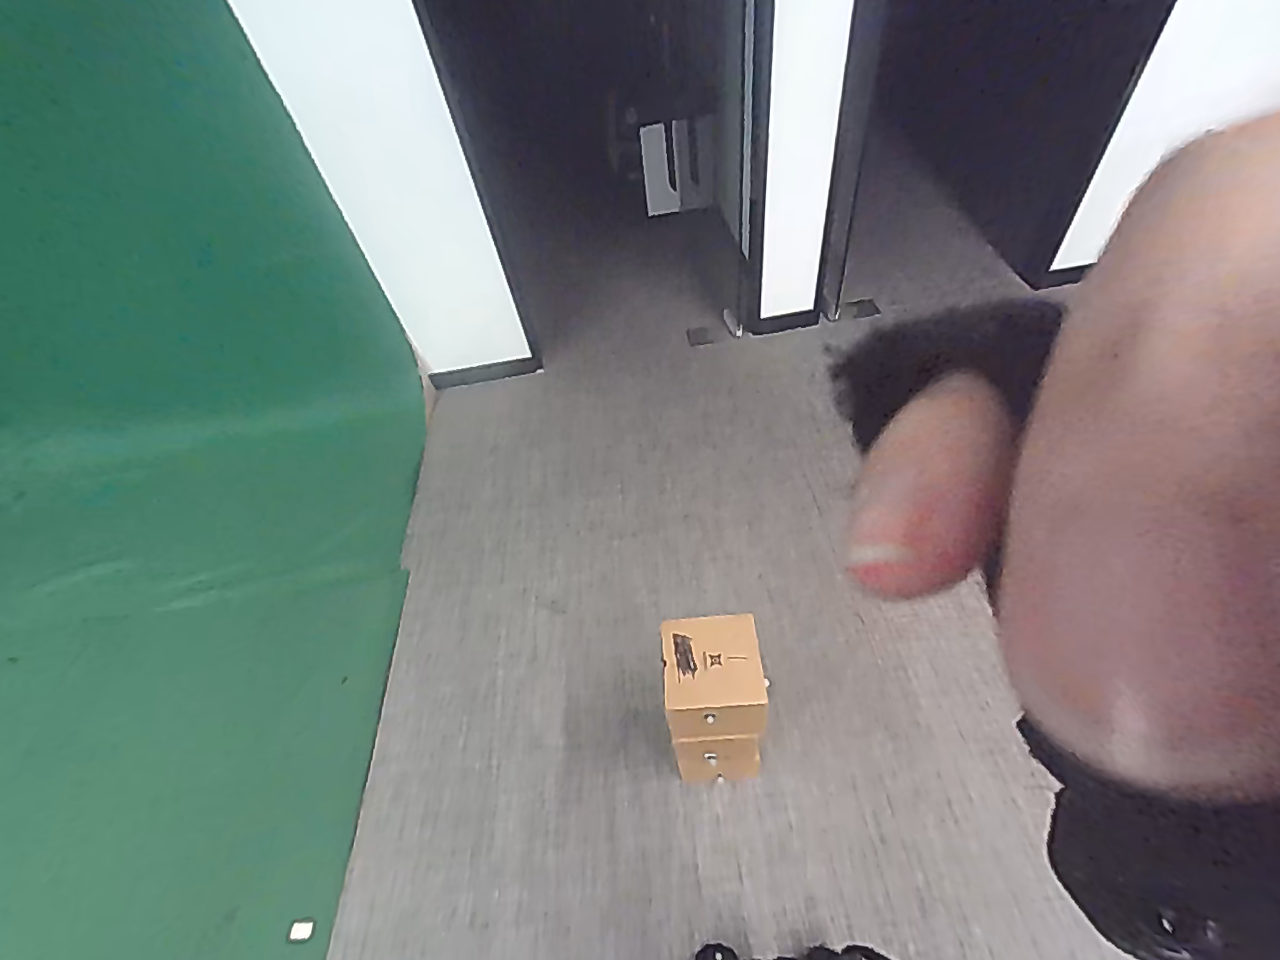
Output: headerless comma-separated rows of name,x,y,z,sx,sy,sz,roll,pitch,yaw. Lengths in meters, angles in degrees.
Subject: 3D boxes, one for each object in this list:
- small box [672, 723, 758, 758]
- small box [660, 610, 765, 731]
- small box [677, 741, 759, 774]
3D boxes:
small box,0.153,0.472,1.149,0.168,0.176,0.179,-7,50,6
small box,0.137,0.365,1.024,0.179,0.176,0.168,-6,49,6
small box,0.175,0.580,1.268,0.179,0.176,0.168,-5,49,5
